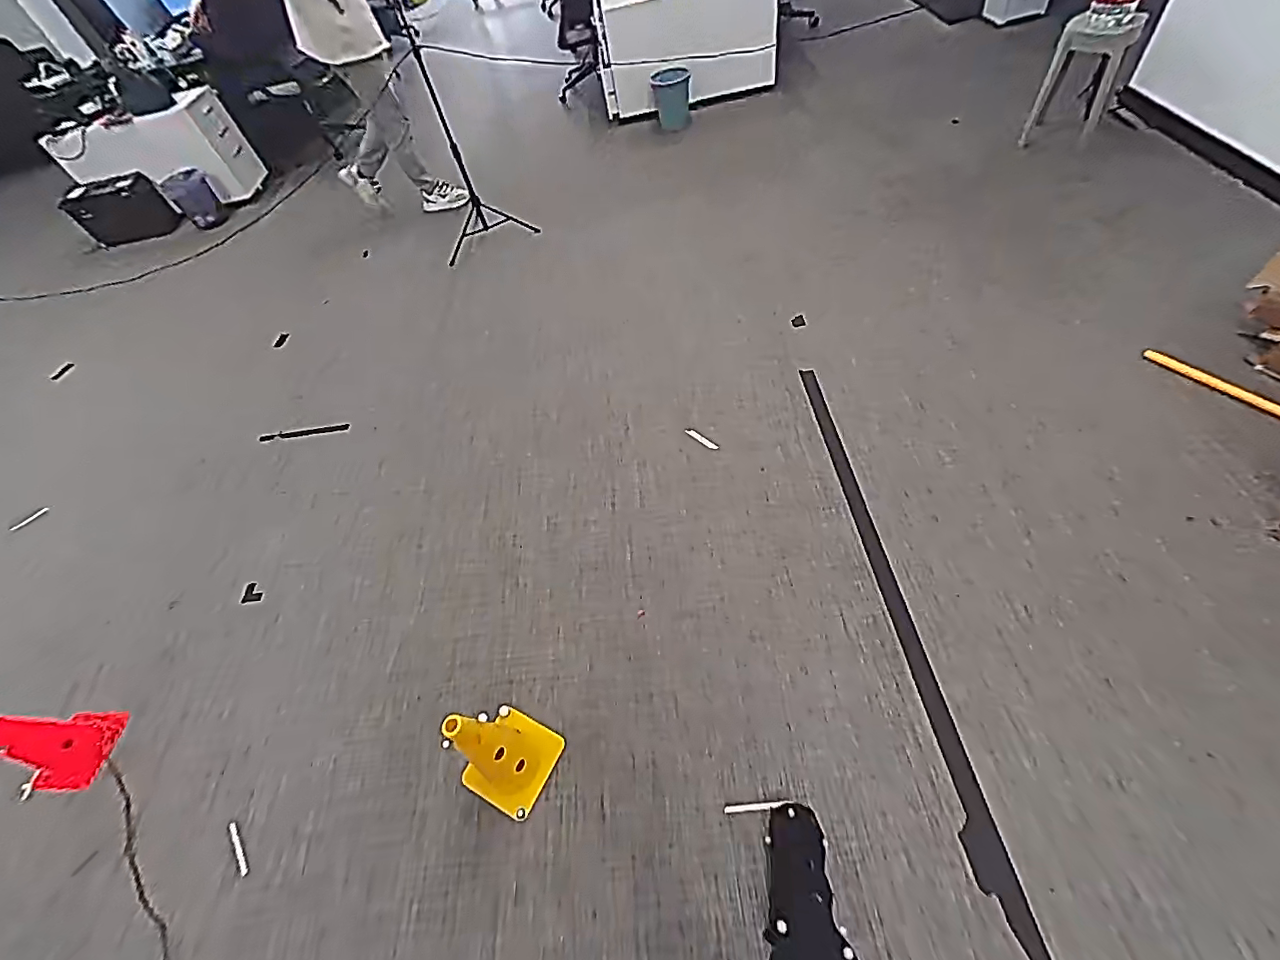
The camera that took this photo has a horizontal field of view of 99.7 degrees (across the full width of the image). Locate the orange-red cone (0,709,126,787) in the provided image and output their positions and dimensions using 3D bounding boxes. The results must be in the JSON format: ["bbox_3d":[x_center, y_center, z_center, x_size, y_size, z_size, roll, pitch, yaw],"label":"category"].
[{"bbox_3d":[-1.619,0.661,1.405,0.199,0.360,0.198,-2,54,9],"label":"orange-red cone"}]
